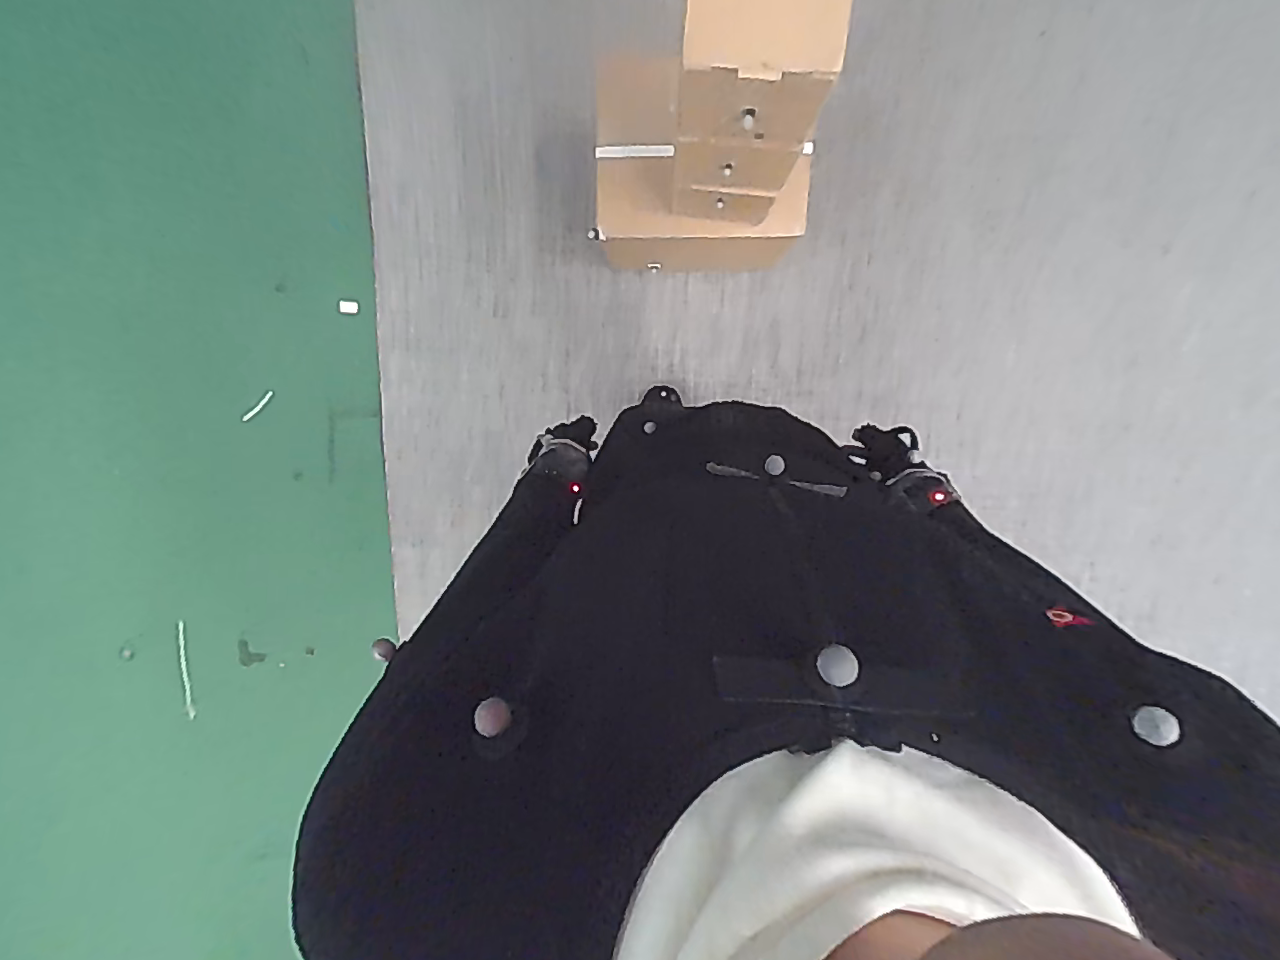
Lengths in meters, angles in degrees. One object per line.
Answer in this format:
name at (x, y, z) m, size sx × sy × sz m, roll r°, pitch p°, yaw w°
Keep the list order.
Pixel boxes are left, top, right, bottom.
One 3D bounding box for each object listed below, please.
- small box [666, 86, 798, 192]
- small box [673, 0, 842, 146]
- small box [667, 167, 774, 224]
small box at (0.136, -0.538, 0.788) m, size 0.179 × 0.176 × 0.168 m, roll 7°, pitch 101°, yaw 4°
small box at (0.131, -0.516, 0.626) m, size 0.168 × 0.176 × 0.179 m, roll 7°, pitch 102°, yaw 2°
small box at (0.143, -0.564, 0.950) m, size 0.179 × 0.176 × 0.168 m, roll 7°, pitch 102°, yaw 1°
